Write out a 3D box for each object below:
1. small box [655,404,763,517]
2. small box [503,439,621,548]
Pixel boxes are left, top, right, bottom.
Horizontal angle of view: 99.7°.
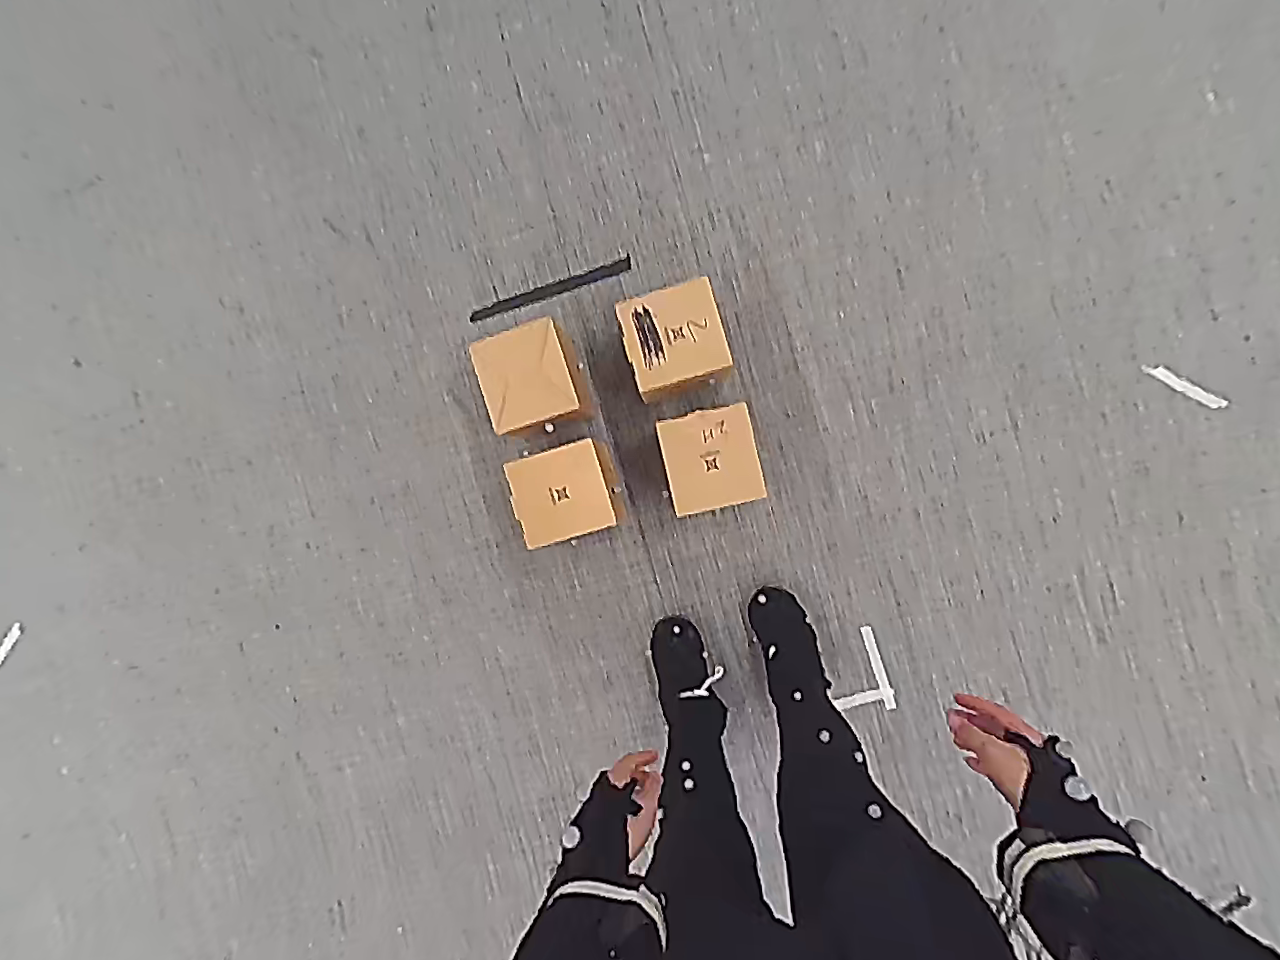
[{"bbox_3d":[0.129,-0.037,1.035,0.168,0.176,0.179,-13,90,4],"label":"small box"},{"bbox_3d":[-0.141,0.022,1.062,0.179,0.176,0.168,-16,90,6],"label":"small box"}]
